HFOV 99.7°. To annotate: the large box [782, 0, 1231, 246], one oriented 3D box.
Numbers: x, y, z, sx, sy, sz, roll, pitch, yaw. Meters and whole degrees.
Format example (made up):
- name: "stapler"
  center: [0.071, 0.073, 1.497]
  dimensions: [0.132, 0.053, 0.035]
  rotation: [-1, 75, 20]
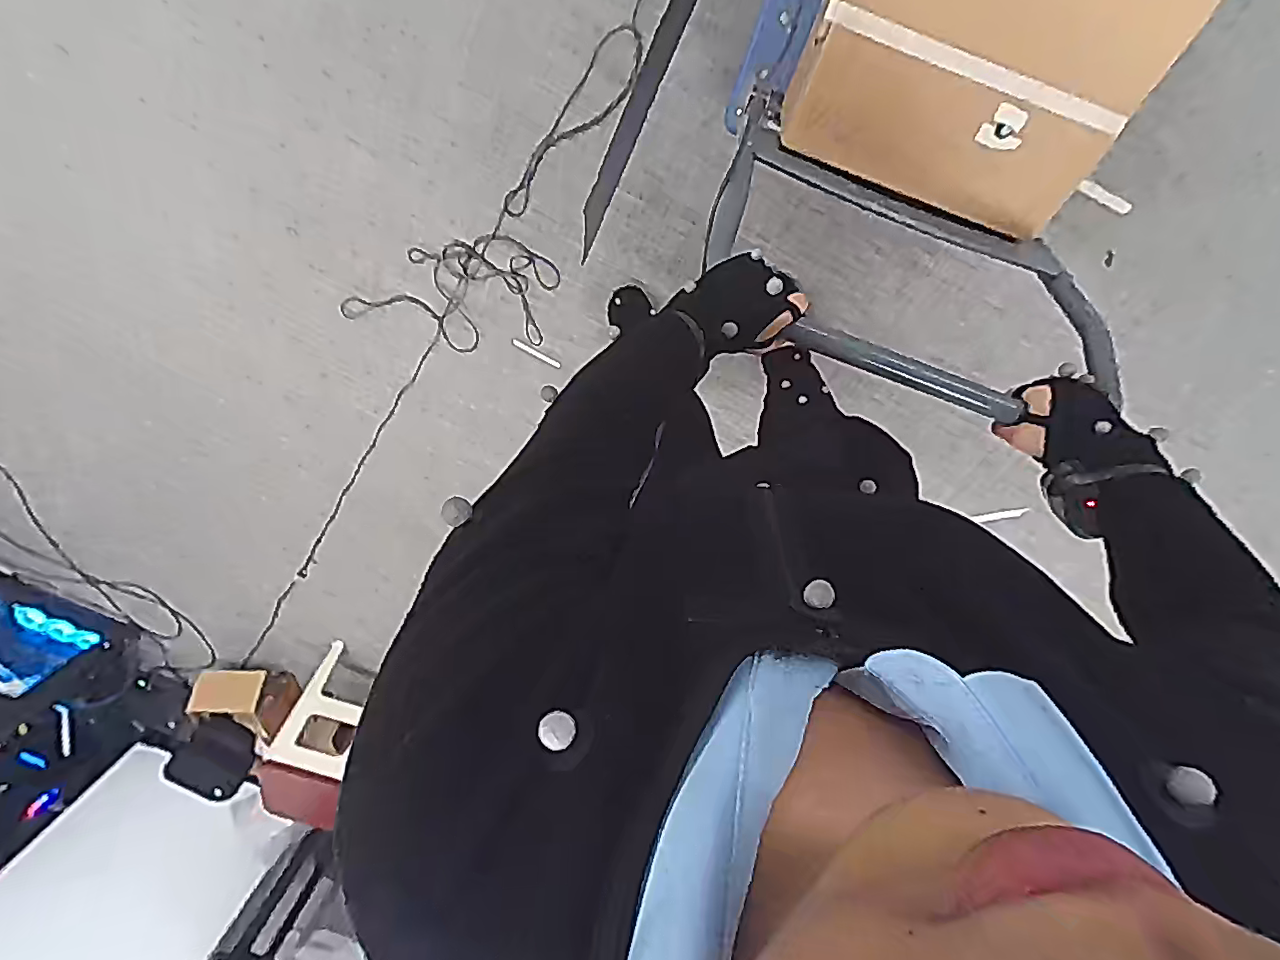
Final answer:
- name: "large box"
  center: [0.458, -0.604, 0.787]
  dimensions: [0.408, 0.320, 0.320]
  rotation: [19, 134, -4]
